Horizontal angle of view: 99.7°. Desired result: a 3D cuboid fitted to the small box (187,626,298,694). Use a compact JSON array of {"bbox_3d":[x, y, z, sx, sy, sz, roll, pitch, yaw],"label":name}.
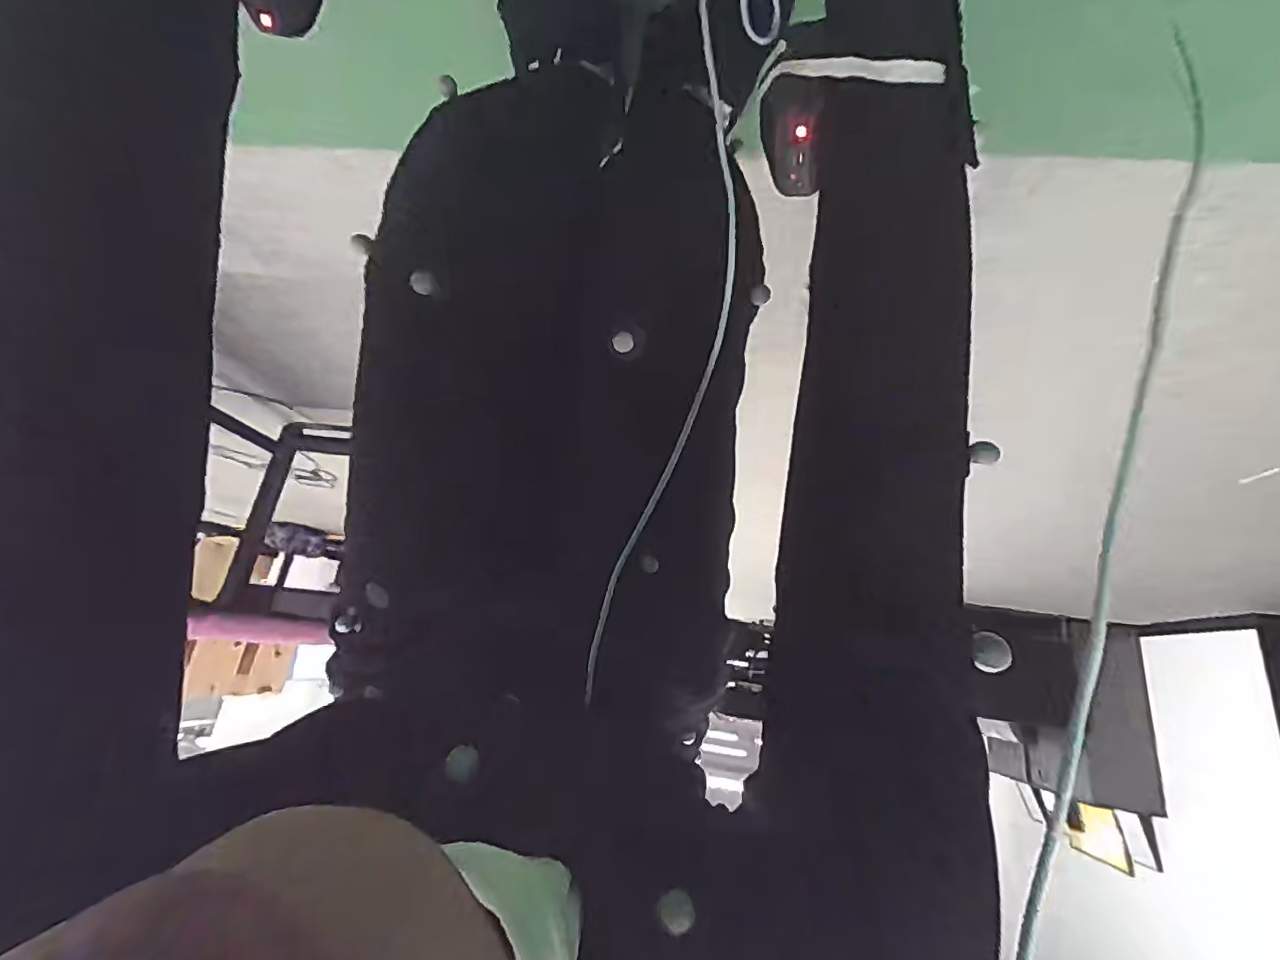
[{"bbox_3d":[-1.158,0.525,1.590,0.179,0.176,0.168,6,162,6],"label":"small box"}]
